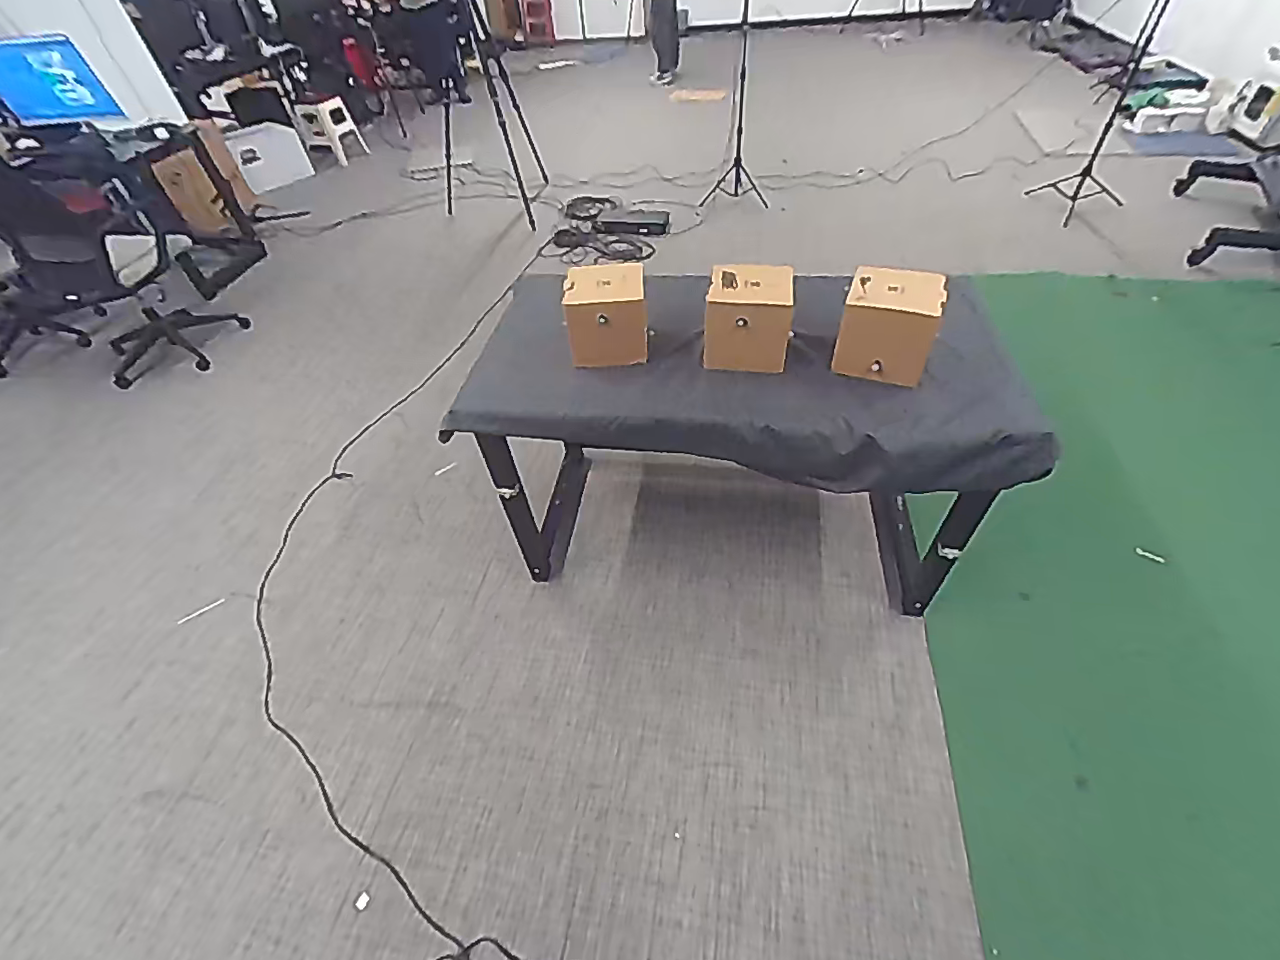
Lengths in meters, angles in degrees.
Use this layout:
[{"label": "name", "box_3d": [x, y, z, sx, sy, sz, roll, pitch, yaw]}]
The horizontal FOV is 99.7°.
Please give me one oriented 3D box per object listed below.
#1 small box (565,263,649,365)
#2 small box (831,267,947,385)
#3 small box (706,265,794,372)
[{"label": "small box", "box_3d": [-0.070, -0.380, 1.252, 0.179, 0.176, 0.168, -2, 49, 2]}, {"label": "small box", "box_3d": [0.522, -0.323, 1.145, 0.179, 0.176, 0.168, 16, 51, 18]}, {"label": "small box", "box_3d": [0.242, -0.357, 1.201, 0.179, 0.176, 0.168, 6, 48, 9]}]
